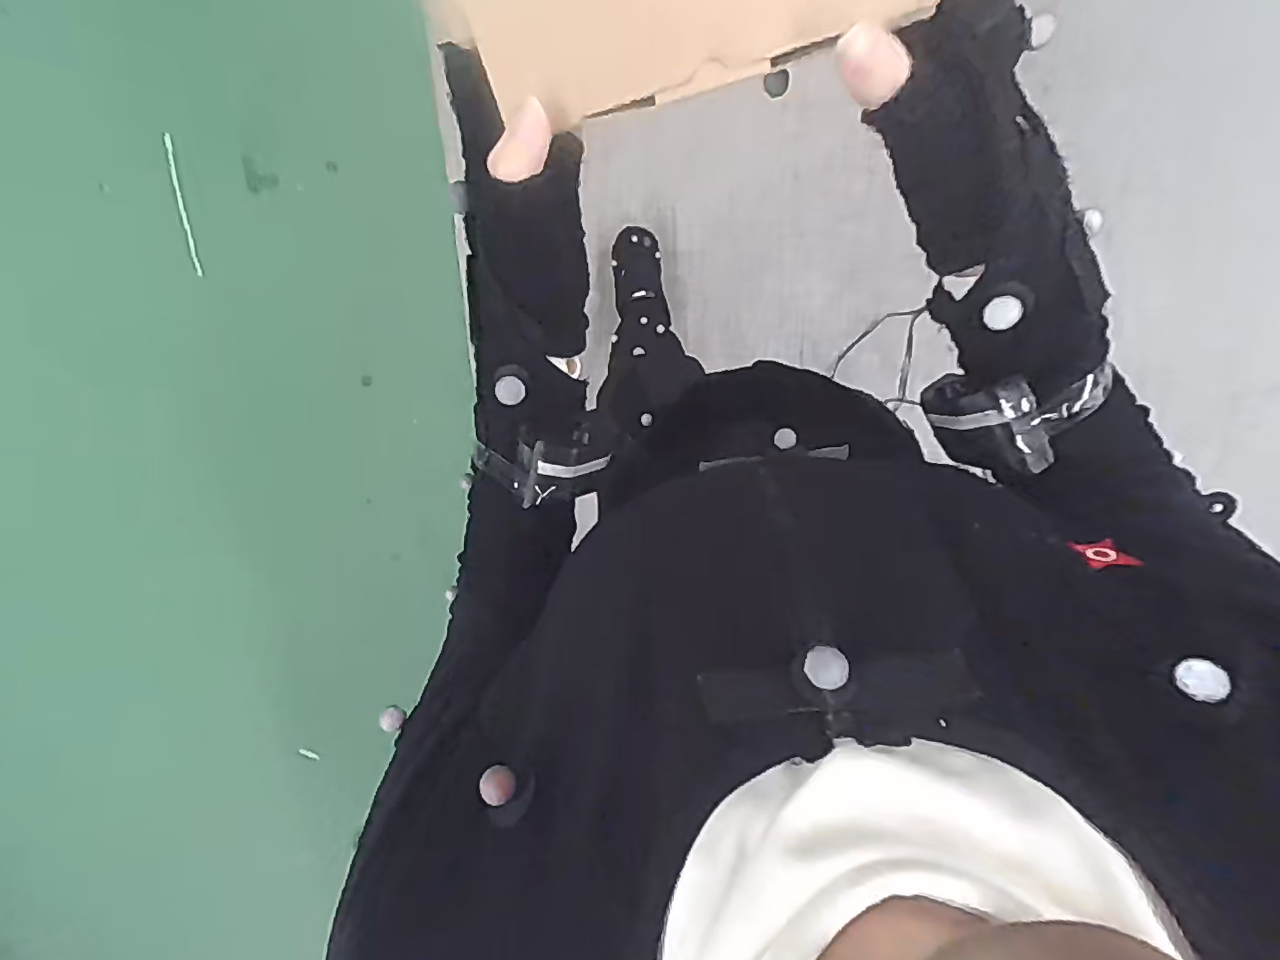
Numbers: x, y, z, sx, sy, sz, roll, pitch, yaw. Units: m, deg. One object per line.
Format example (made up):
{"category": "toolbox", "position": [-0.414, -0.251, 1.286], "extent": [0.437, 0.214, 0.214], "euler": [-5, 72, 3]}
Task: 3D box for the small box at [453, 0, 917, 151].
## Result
{"category": "small box", "position": [0.003, -0.266, 0.215], "extent": [0.168, 0.176, 0.179], "euler": [-13, 127, 13]}
